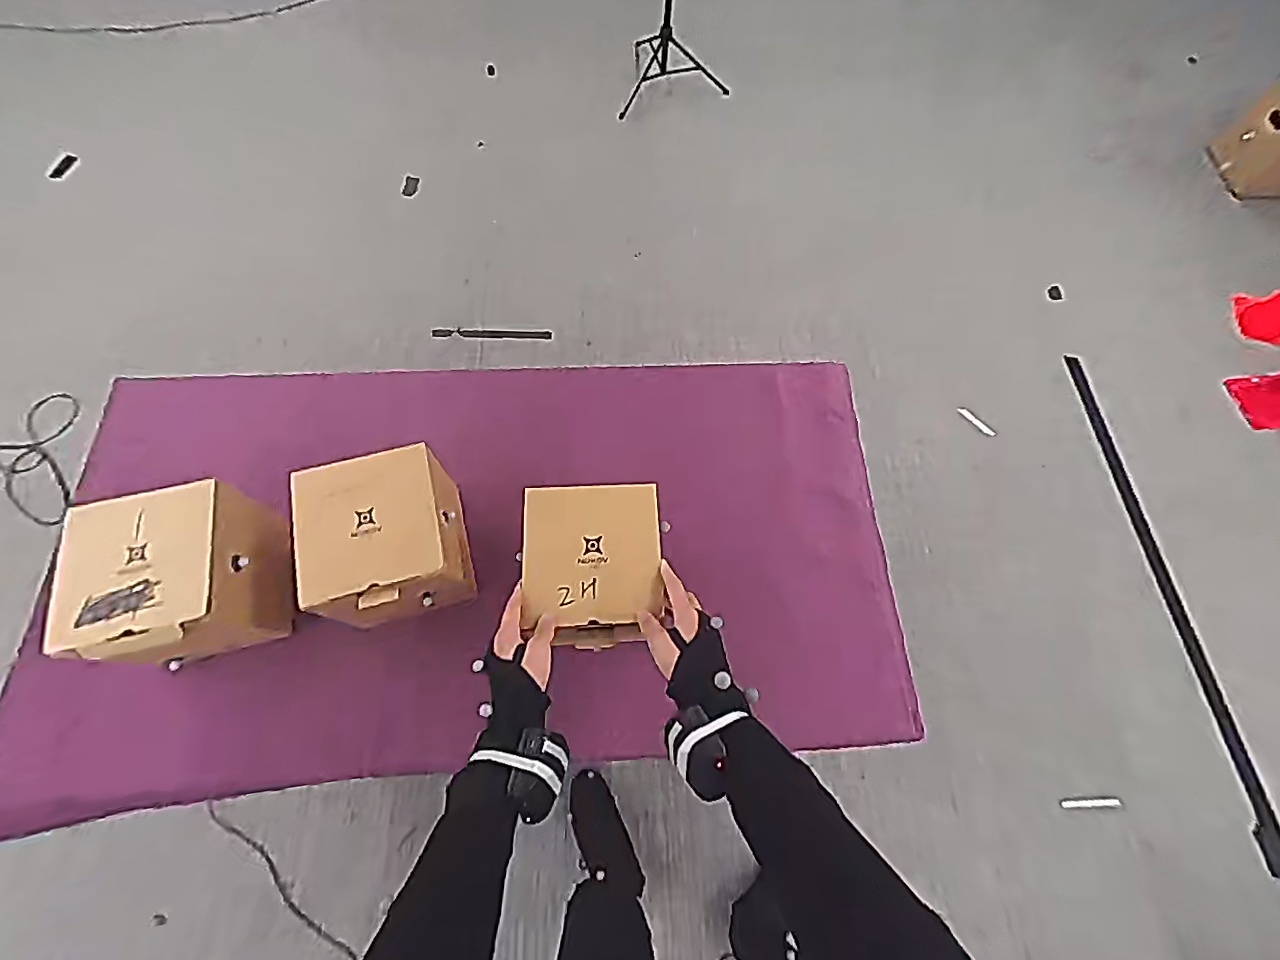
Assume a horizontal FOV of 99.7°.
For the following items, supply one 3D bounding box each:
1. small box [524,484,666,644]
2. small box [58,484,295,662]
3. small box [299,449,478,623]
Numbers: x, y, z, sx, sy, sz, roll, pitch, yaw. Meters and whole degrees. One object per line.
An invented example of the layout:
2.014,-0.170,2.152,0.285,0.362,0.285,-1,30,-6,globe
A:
-0.057,0.117,0.724,0.168,0.176,0.179,-2,67,-3,small box
-0.573,0.128,0.698,0.168,0.176,0.179,-12,68,-8,small box
-0.327,0.086,0.728,0.168,0.176,0.179,-14,68,-9,small box
